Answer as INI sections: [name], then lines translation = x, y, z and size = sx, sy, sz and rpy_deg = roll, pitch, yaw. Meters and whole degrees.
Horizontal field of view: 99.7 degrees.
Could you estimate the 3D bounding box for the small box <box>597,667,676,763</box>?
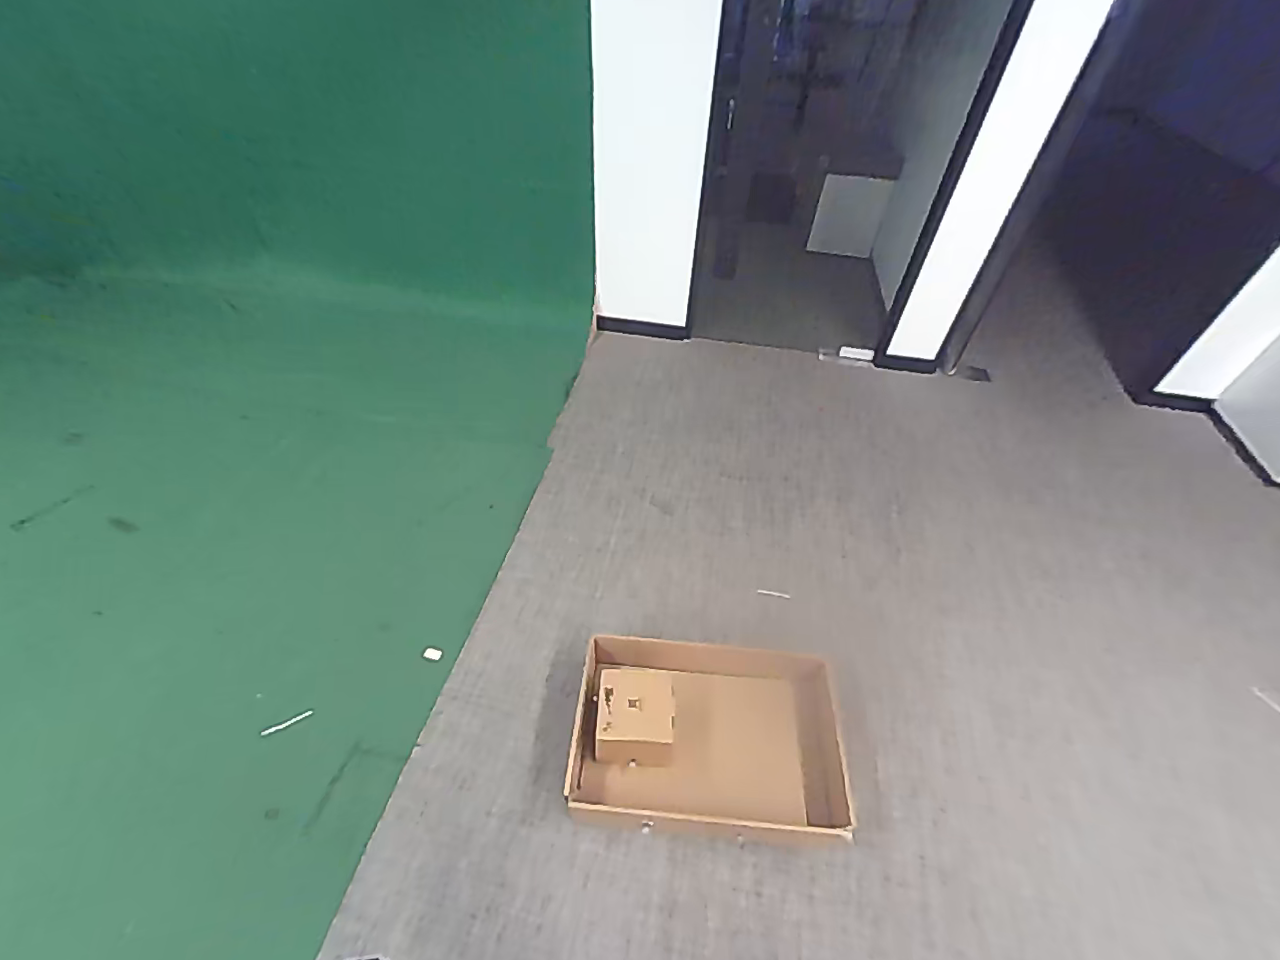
[small box]
translation = -0.010, 0.575, 1.315
size = 0.179, 0.176, 0.168
rpy_deg = 4, 45, -1
